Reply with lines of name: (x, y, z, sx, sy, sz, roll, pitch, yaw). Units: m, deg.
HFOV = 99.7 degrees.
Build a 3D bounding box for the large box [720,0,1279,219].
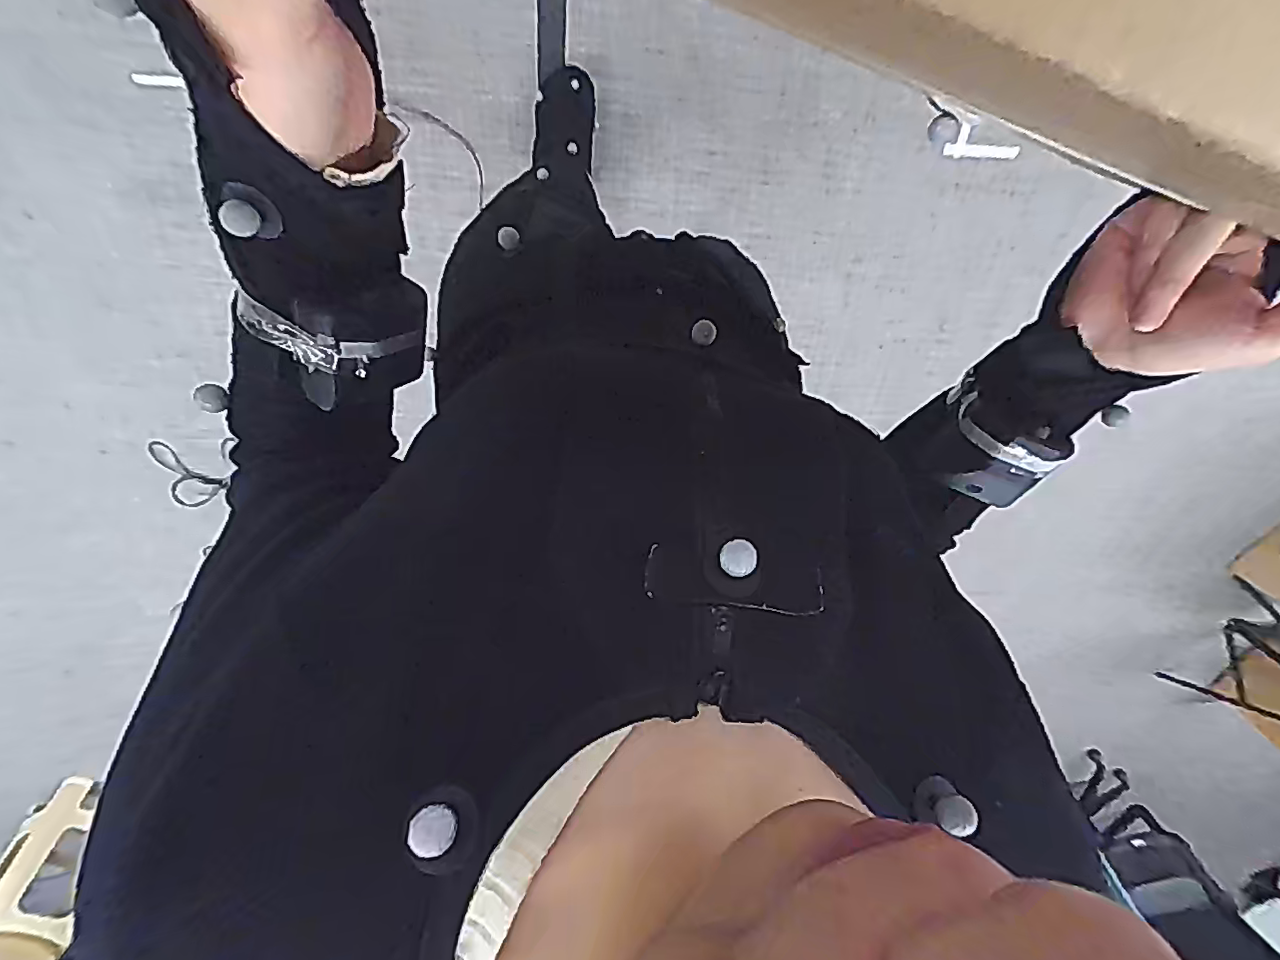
large box: (0.110, -0.270, 0.091, 0.408, 0.320, 0.320, 13, 132, -10)
